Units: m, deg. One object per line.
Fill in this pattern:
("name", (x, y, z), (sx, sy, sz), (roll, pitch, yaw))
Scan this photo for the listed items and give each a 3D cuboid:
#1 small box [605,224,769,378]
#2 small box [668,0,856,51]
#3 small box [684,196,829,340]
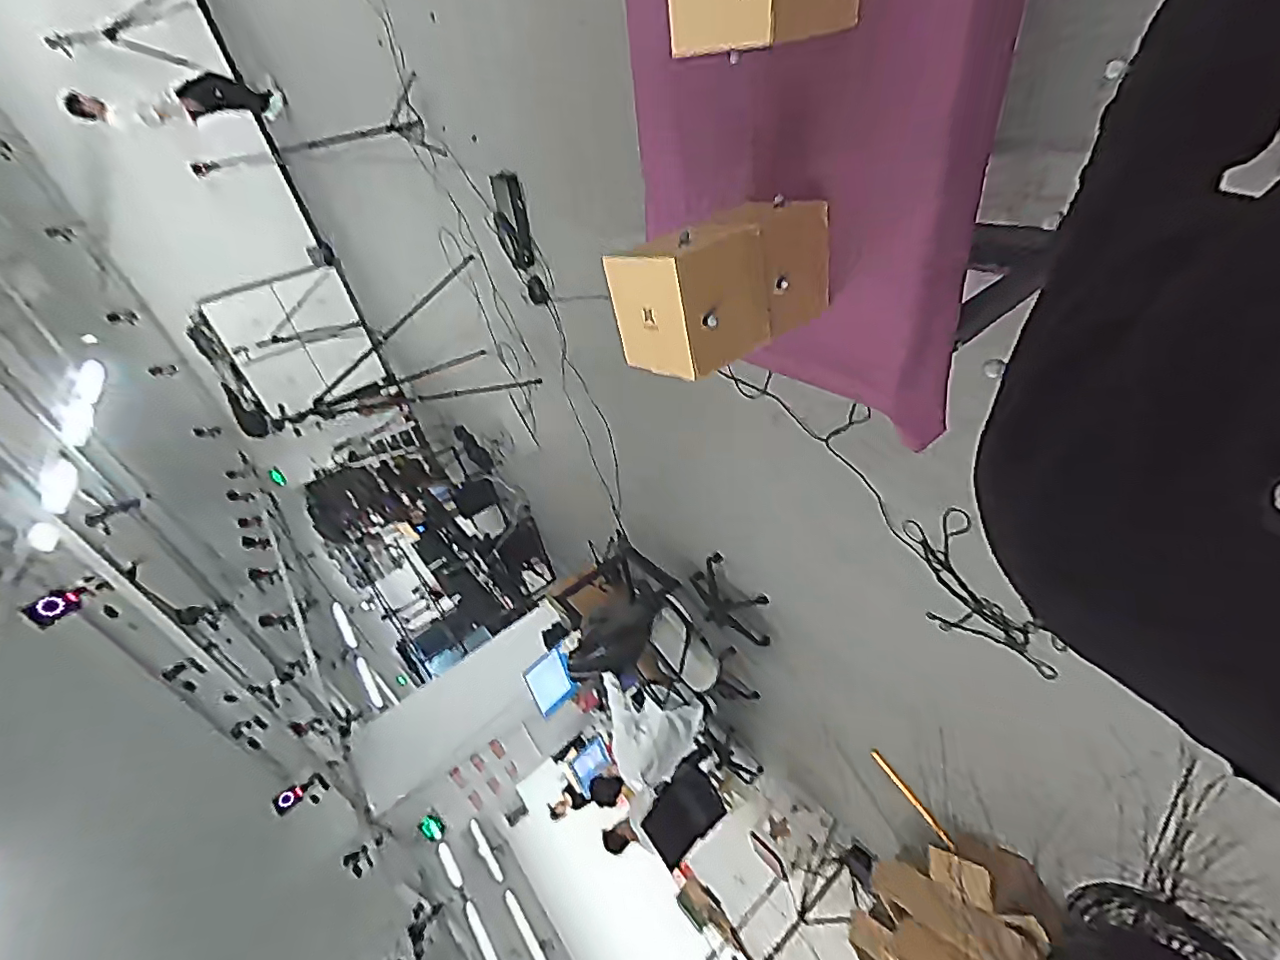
("small box", (0.077, -0.281, 0.828), (0.168, 0.176, 0.179), (26, 141, 47))
("small box", (0.149, -0.644, 0.663), (0.179, 0.176, 0.168), (34, 147, 41))
("small box", (0.199, -0.357, 0.903), (0.168, 0.176, 0.179), (28, 142, 45))
